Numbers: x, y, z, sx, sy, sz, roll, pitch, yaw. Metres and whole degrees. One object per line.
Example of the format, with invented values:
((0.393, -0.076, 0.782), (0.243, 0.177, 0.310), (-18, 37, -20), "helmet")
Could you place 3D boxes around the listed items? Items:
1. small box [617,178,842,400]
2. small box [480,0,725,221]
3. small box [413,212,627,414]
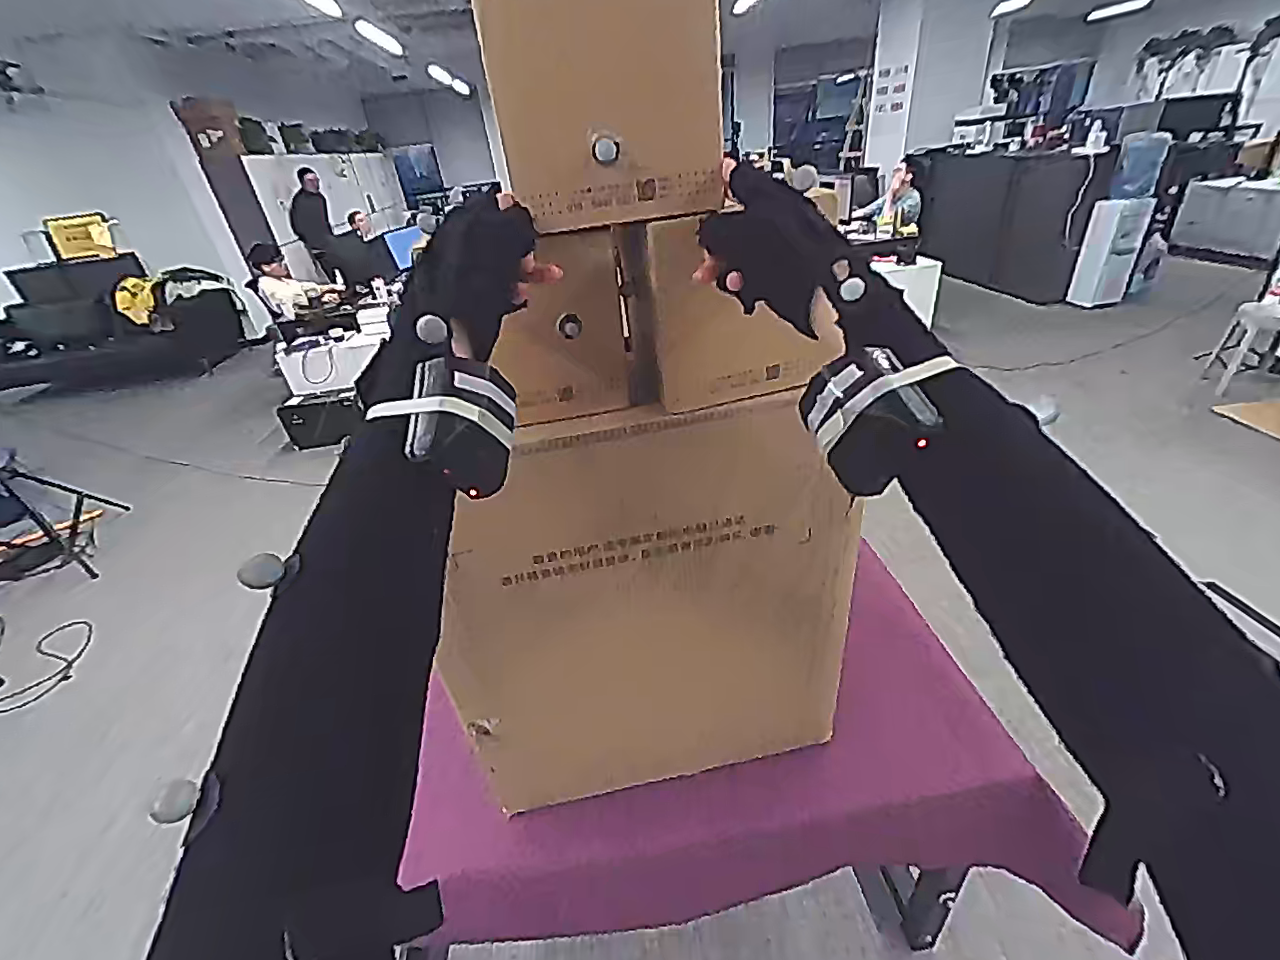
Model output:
((0.079, -0.196, 0.544), (0.168, 0.176, 0.179), (-14, 31, -8), "small box")
((-0.027, -0.321, 0.453), (0.168, 0.176, 0.179), (-8, 31, 0), "small box")
((-0.111, -0.173, 0.549), (0.168, 0.176, 0.179), (-9, 30, -8), "small box")
